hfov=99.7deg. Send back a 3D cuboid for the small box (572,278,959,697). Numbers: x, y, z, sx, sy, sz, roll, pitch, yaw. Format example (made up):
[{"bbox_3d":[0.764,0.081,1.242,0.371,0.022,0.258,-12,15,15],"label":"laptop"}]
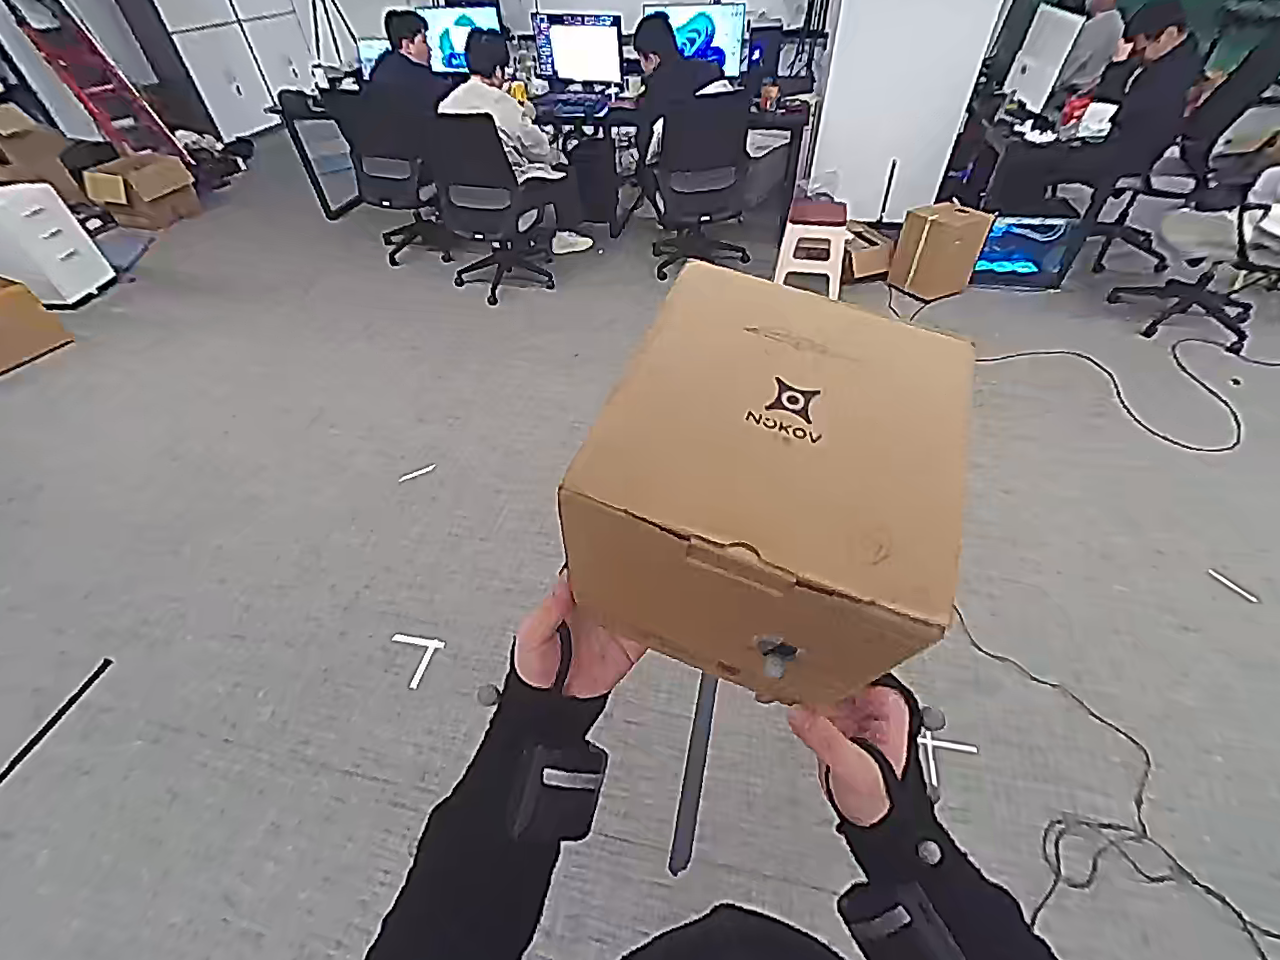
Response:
[{"bbox_3d":[0.070,0.013,0.339,0.168,0.176,0.179,19,57,7],"label":"small box"}]
